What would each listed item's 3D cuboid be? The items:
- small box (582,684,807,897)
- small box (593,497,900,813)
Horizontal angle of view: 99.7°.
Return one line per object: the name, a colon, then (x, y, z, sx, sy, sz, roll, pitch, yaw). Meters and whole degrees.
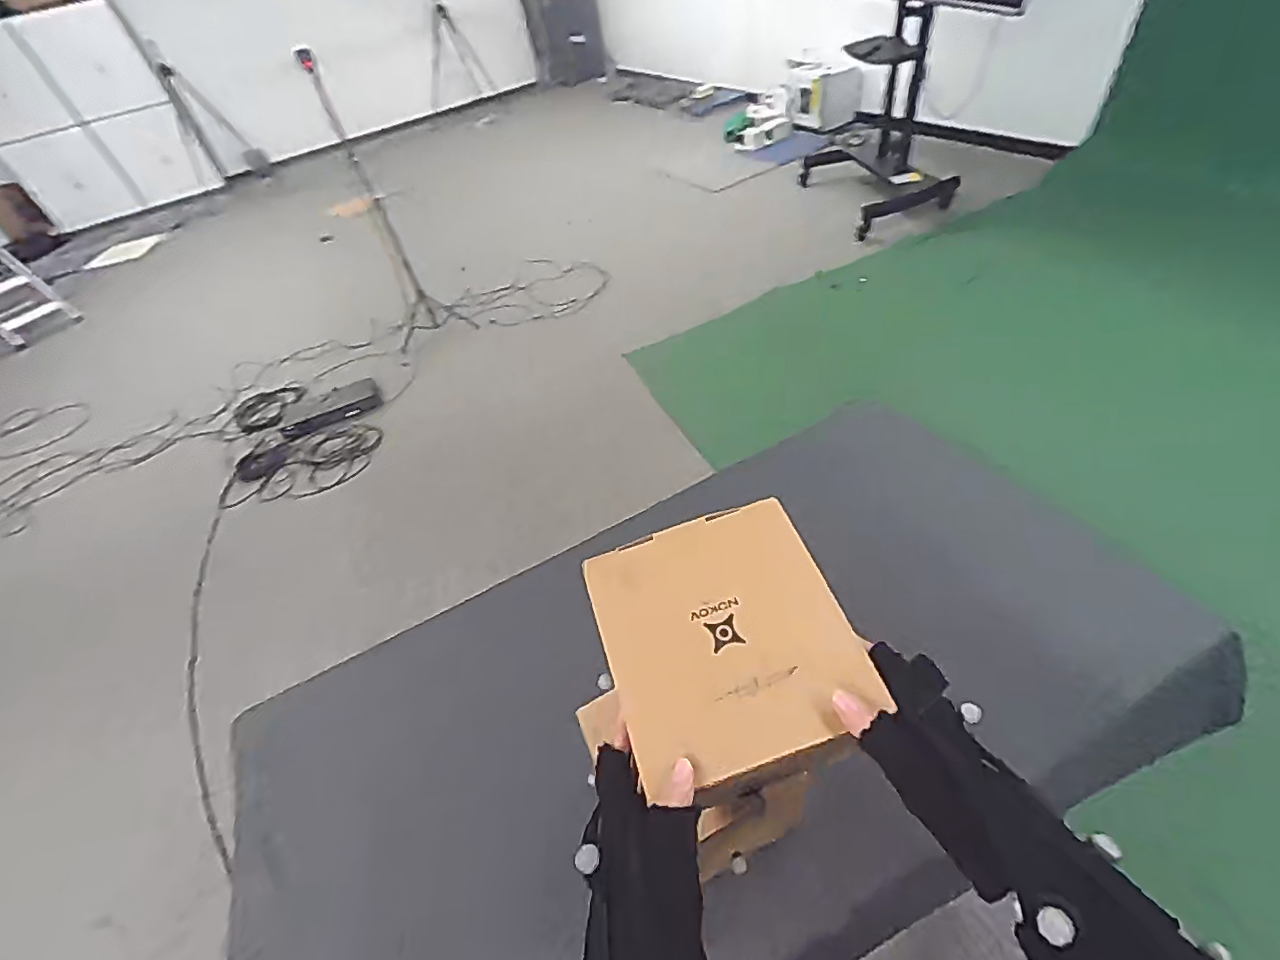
small box: (0.058, 0.314, 0.594, 0.179, 0.176, 0.168, -25, 45, -11)
small box: (0.070, 0.147, 0.443, 0.168, 0.176, 0.179, -18, 55, -4)
